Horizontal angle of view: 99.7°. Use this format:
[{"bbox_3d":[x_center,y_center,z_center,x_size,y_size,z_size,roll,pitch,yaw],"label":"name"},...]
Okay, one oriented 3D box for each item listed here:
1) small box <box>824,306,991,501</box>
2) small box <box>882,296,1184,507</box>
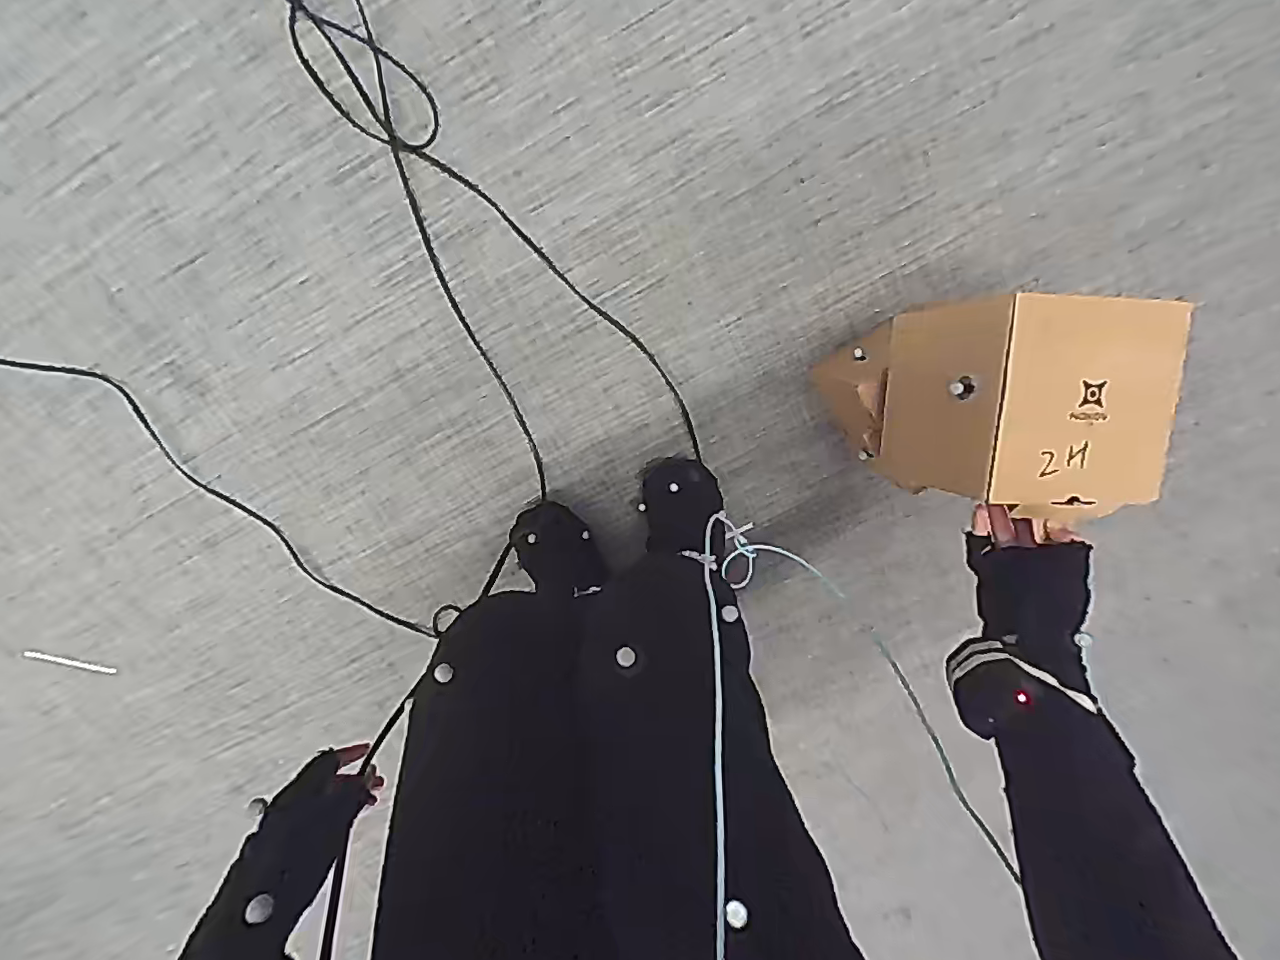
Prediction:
[{"bbox_3d":[0.360,-0.105,0.696,0.179,0.176,0.168,-32,106,8],"label":"small box"},{"bbox_3d":[0.364,-0.075,0.535,0.168,0.176,0.179,0,100,-7],"label":"small box"}]
